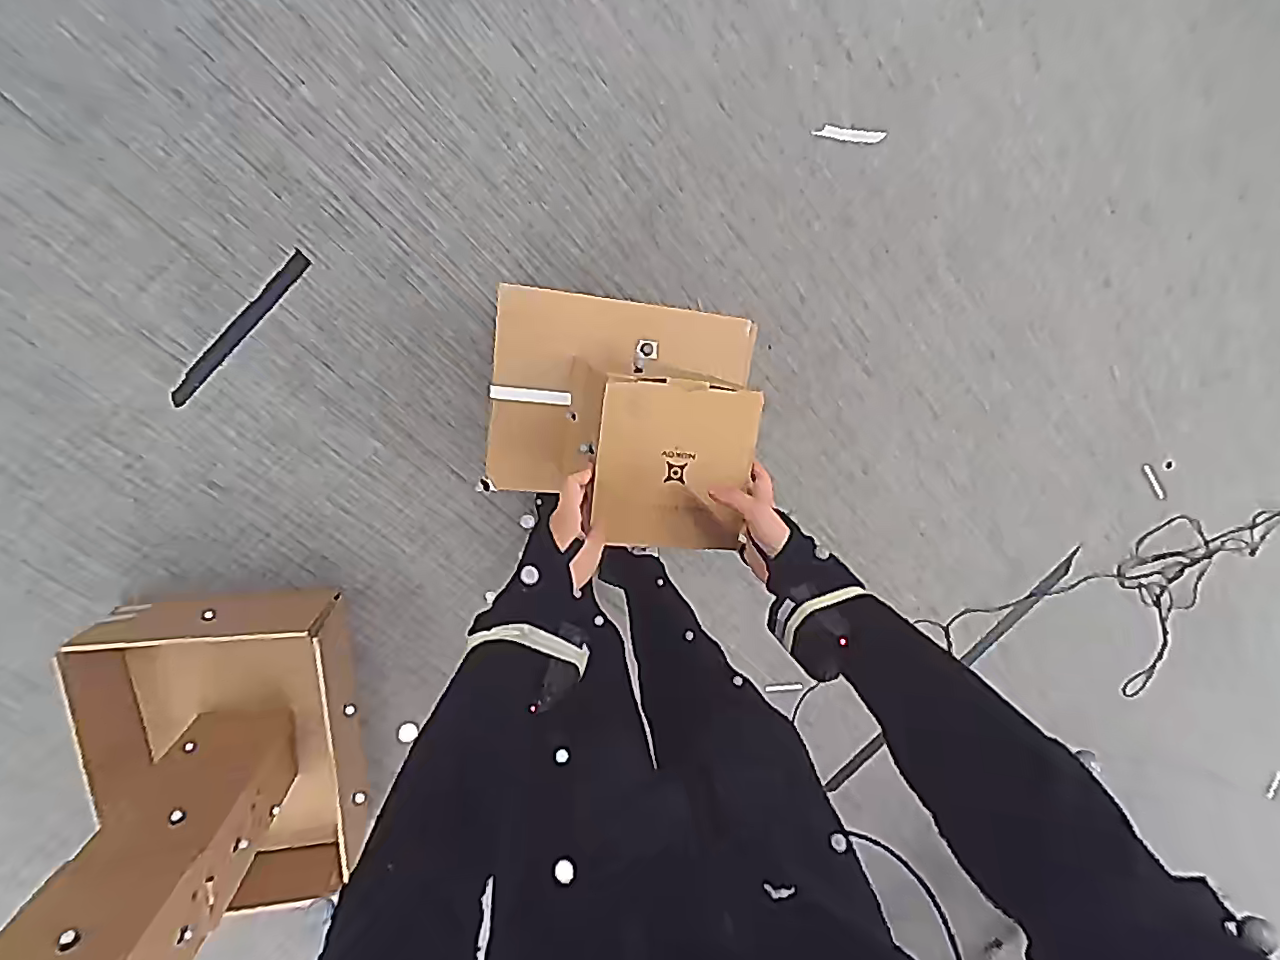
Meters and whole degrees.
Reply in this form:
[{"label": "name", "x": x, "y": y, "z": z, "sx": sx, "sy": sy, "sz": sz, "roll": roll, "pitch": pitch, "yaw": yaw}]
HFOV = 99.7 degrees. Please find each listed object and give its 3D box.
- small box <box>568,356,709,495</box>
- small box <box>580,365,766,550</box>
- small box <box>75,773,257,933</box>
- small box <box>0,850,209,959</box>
[{"label": "small box", "x": -0.011, "y": -0.078, "z": 0.781, "sx": 0.168, "sy": 0.176, "sz": 0.179, "roll": 5, "pitch": 103, "yaw": -14}, {"label": "small box", "x": 0.024, "y": -0.034, "z": 0.628, "sx": 0.168, "sy": 0.176, "sz": 0.179, "roll": 4, "pitch": 106, "yaw": -13}, {"label": "small box", "x": -0.767, "y": 0.617, "z": 0.901, "sx": 0.179, "sy": 0.176, "sz": 0.168, "roll": 4, "pitch": 103, "yaw": -13}, {"label": "small box", "x": -0.742, "y": 0.650, "z": 0.743, "sx": 0.179, "sy": 0.176, "sz": 0.168, "roll": 3, "pitch": 103, "yaw": -13}]
